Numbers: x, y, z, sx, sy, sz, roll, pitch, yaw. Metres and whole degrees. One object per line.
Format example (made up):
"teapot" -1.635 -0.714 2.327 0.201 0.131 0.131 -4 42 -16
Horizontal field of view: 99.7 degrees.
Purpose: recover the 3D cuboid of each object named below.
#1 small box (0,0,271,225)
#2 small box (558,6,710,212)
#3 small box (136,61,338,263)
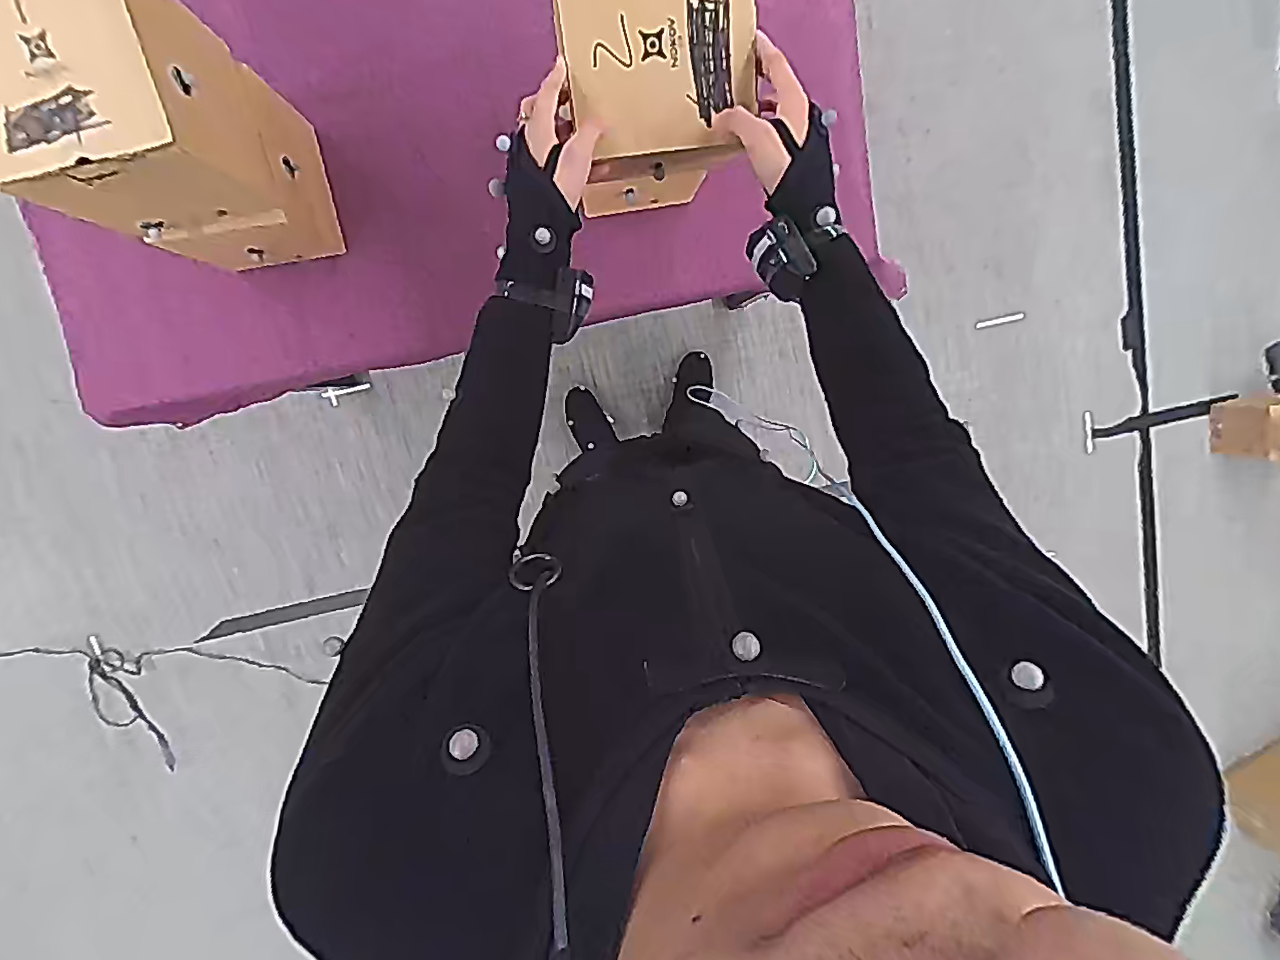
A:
"small box" -0.512 -0.370 0.533 0.168 0.176 0.179 -15 101 -3
"small box" -0.010 -0.481 0.732 0.168 0.176 0.179 -10 100 -3
"small box" -0.522 -0.390 0.696 0.168 0.176 0.179 -10 101 -4
